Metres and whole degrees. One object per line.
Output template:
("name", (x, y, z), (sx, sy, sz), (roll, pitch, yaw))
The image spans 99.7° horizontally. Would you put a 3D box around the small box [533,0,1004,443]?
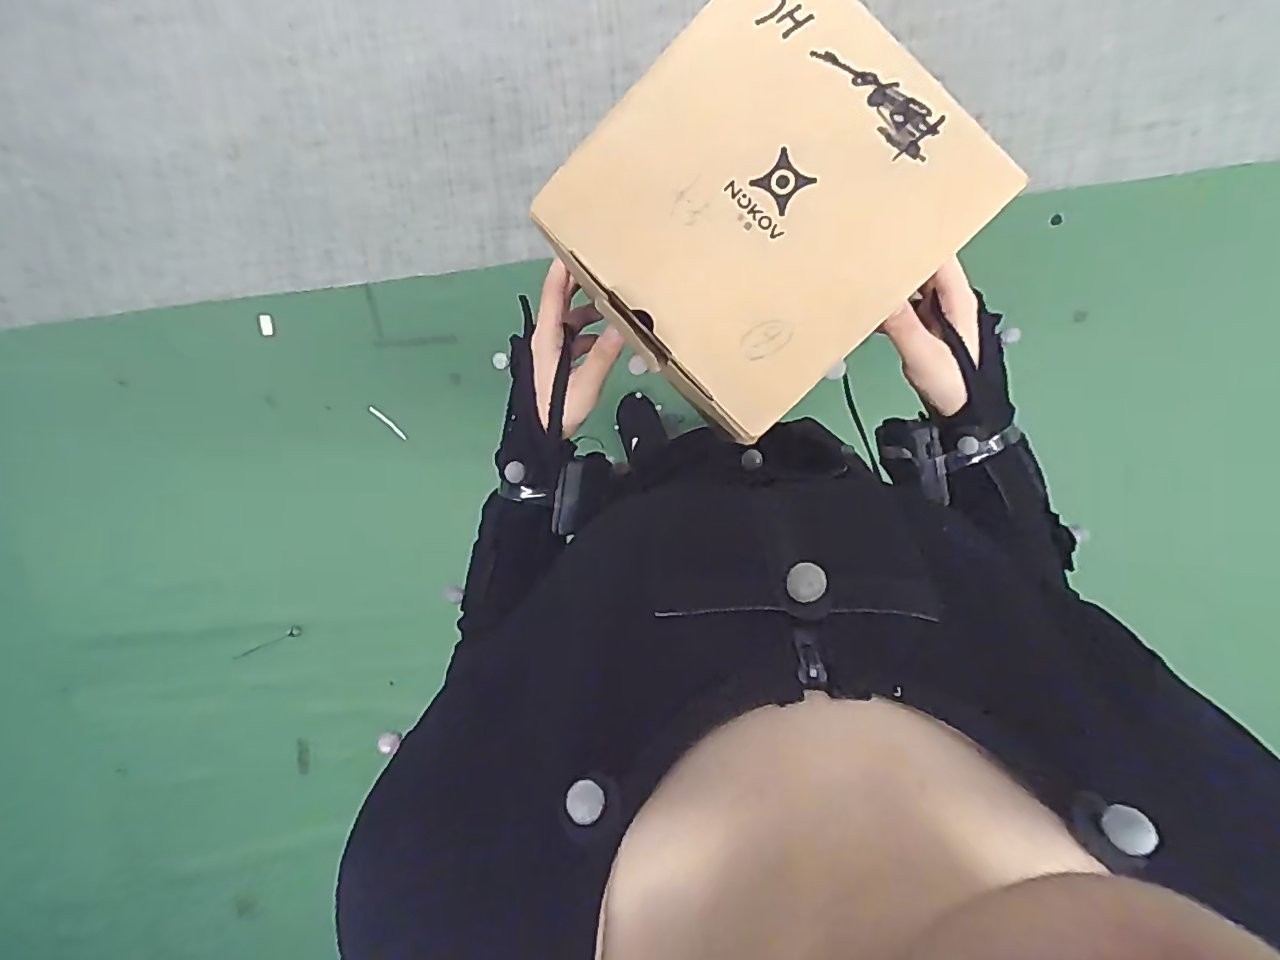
("small box", (0.068, -0.141, 0.348), (0.179, 0.176, 0.168), (-44, 90, 8))
